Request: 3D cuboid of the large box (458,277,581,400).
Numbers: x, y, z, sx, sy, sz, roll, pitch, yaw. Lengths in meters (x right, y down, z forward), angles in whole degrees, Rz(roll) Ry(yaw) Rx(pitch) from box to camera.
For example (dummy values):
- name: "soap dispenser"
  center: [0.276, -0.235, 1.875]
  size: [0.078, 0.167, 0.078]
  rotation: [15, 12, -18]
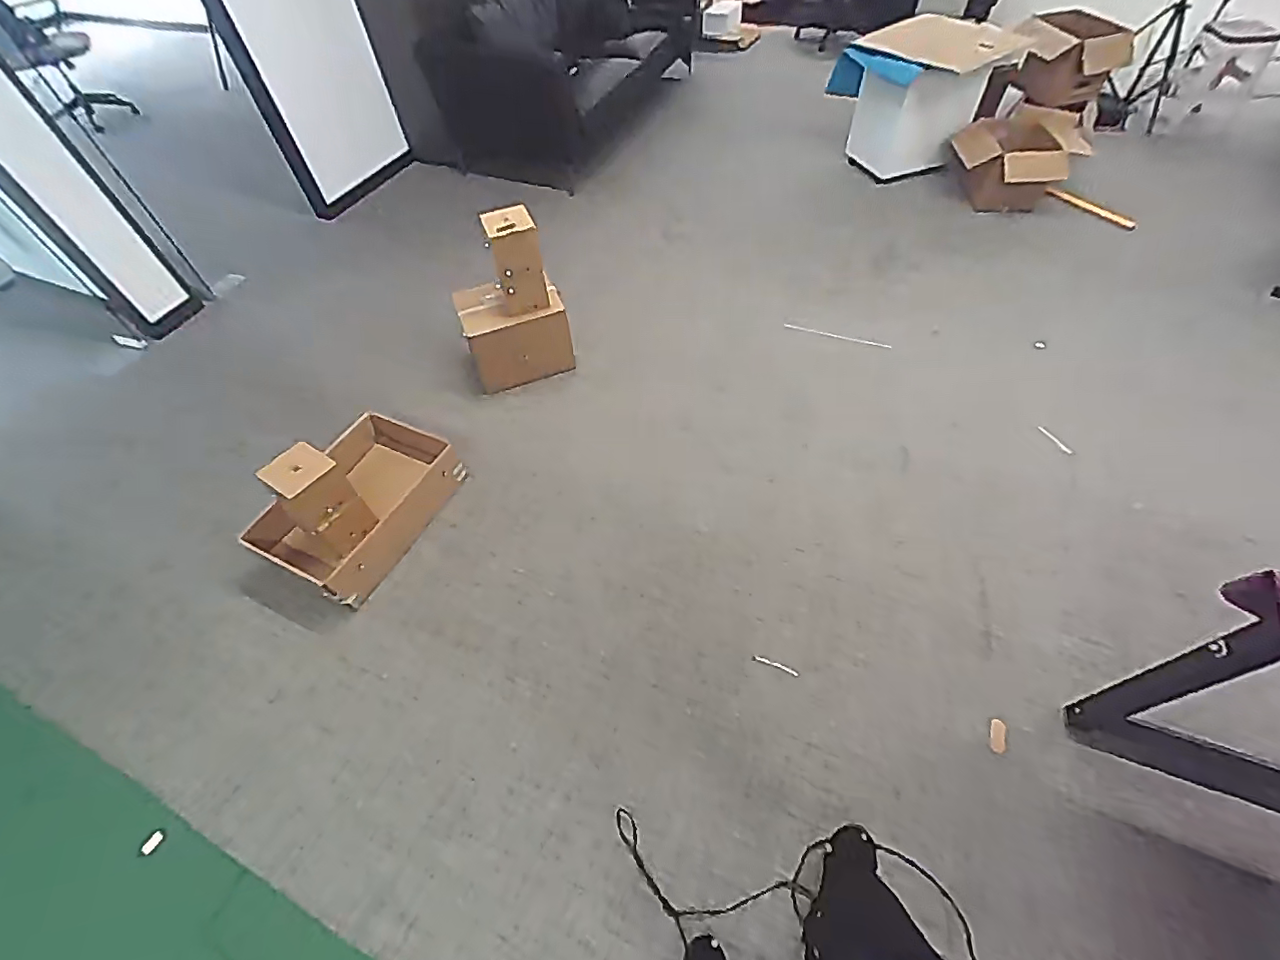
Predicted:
- name: "large box"
  center: [-0.509, -0.606, 2.318]
  size: [0.408, 0.320, 0.320]
  rotation: [-21, 53, -10]

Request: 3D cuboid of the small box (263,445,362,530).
- name: "small box"
  center: [-1.017, 0.027, 1.691]
  size: [0.179, 0.176, 0.168]
  rotation: [27, 57, 21]

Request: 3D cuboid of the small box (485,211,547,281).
- name: "small box"
  center: [-0.452, -0.850, 1.984]
  size: [0.168, 0.176, 0.179]
  rotation: [-19, 54, -10]

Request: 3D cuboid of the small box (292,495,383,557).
- name: "small box"
  center: [-1.008, 0.132, 1.815]
  size: [0.179, 0.176, 0.168]
  rotation: [24, 55, 19]
